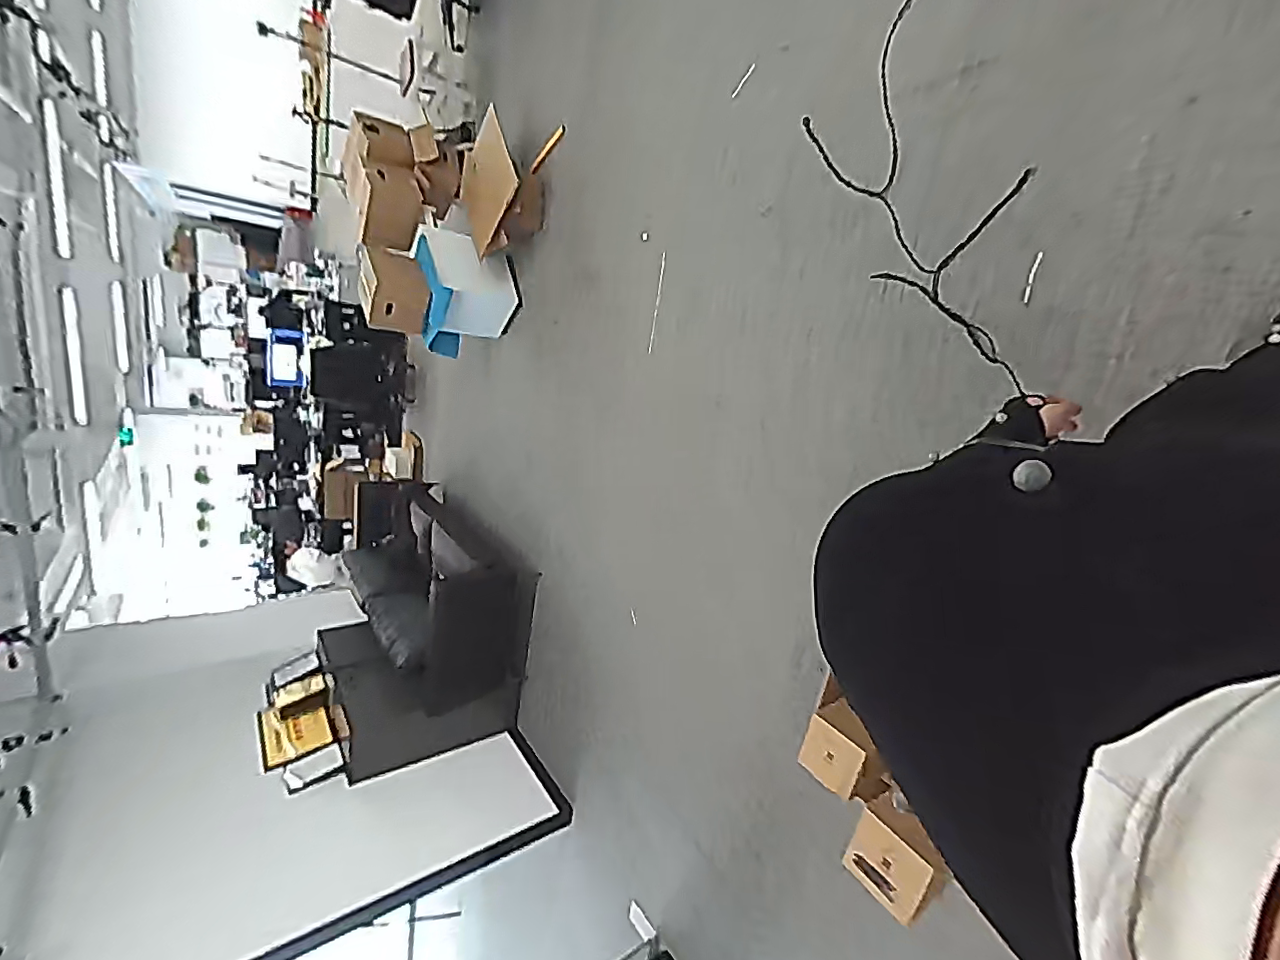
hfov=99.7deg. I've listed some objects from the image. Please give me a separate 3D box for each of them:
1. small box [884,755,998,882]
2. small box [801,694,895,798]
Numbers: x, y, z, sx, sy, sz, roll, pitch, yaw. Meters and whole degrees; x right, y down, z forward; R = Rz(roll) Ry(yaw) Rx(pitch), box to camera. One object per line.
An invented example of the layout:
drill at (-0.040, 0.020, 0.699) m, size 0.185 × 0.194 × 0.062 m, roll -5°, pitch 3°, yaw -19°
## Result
small box at (0.747, 0.830, 1.340) m, size 0.168 × 0.176 × 0.179 m, roll 34°, pitch 119°, yaw 46°
small box at (0.594, 0.746, 1.535) m, size 0.168 × 0.176 × 0.179 m, roll 29°, pitch 114°, yaw 45°
